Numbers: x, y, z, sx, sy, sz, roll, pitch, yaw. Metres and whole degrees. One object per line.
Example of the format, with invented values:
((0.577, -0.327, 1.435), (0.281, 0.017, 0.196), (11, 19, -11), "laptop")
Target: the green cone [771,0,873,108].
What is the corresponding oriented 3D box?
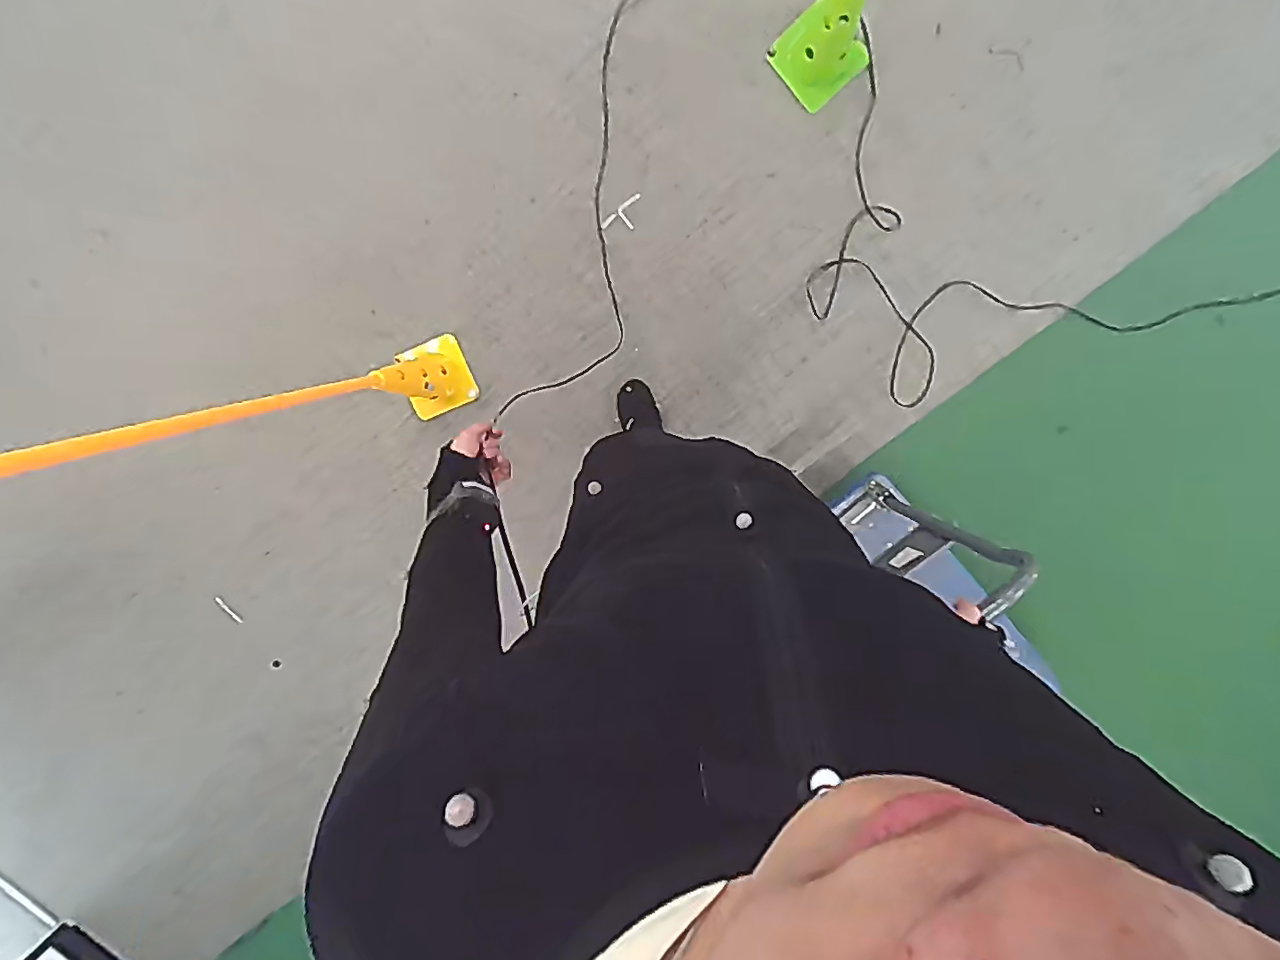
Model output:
((0.459, -1.055, 1.202), (0.202, 0.368, 0.200), (-42, 98, 8), "green cone")
